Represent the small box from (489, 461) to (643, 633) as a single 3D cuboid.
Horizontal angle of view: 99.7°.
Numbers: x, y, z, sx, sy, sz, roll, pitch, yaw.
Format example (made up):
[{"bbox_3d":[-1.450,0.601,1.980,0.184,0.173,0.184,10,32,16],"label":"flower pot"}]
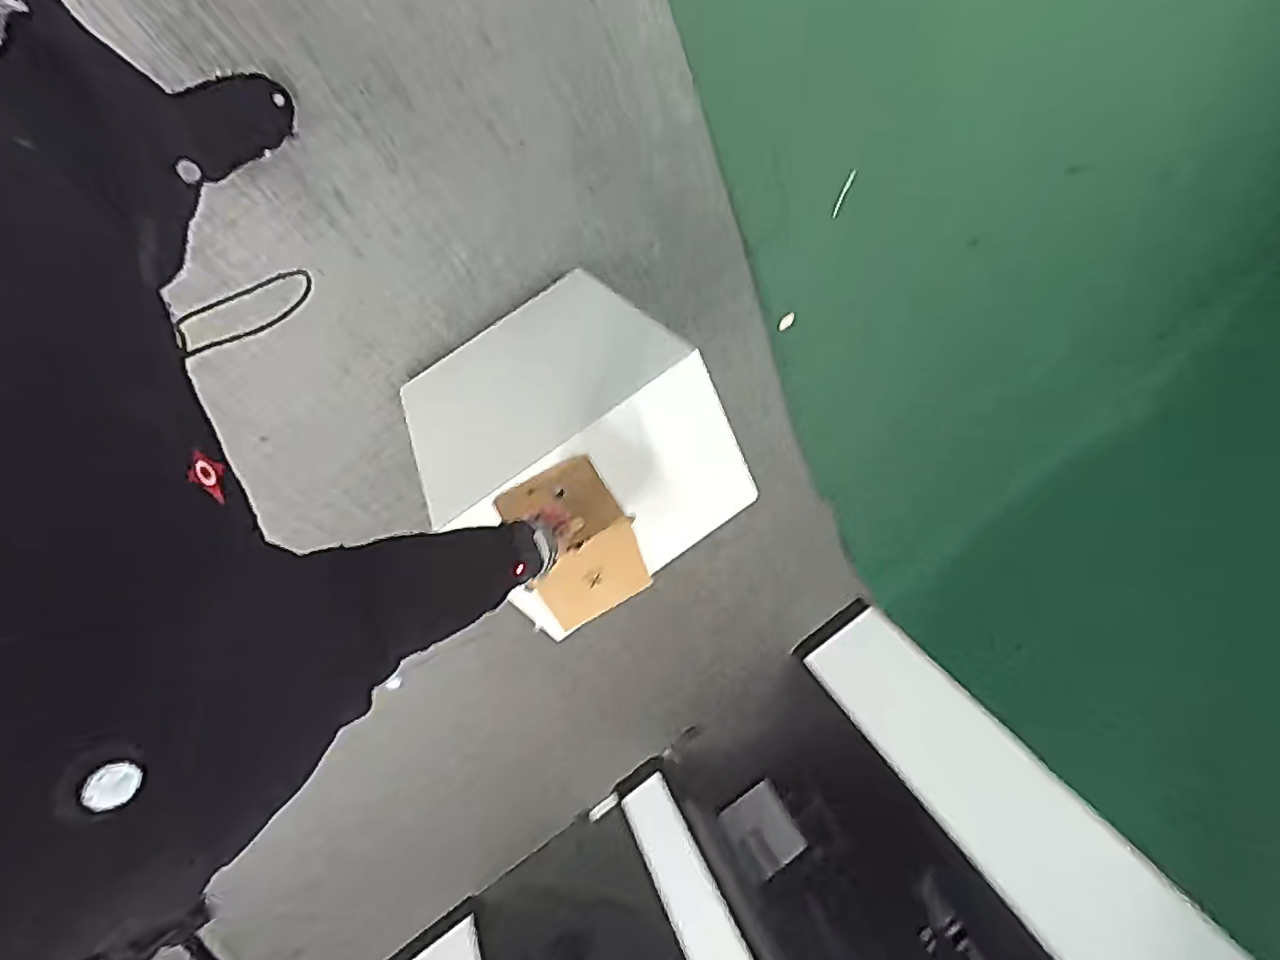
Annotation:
[{"bbox_3d":[-0.117,0.103,0.862,0.168,0.176,0.179,-28,137,-10],"label":"small box"}]
